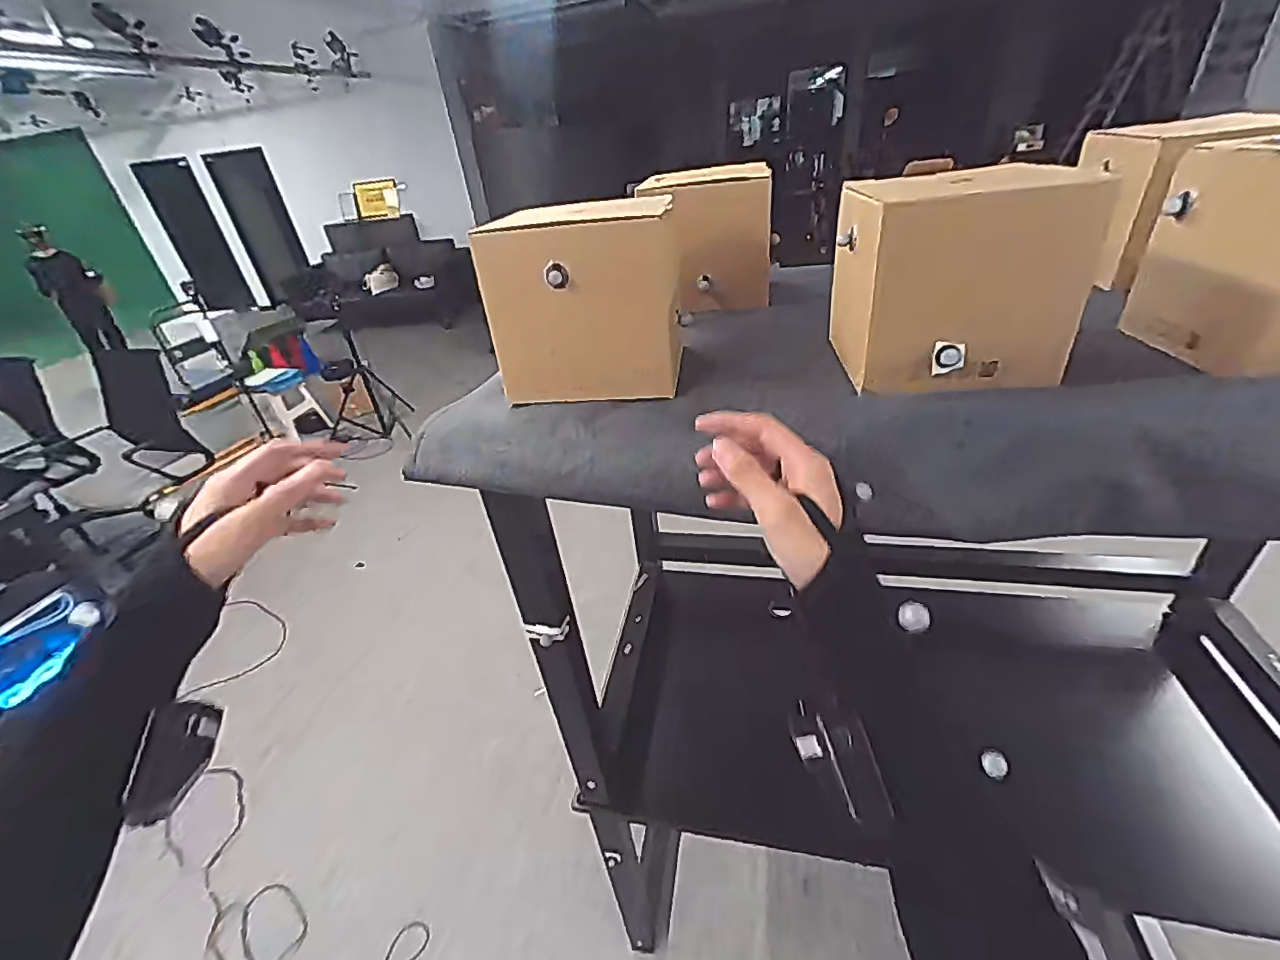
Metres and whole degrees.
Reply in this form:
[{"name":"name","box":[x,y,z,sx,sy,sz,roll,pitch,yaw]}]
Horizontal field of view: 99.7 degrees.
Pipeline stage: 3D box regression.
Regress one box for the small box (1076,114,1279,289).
[{"name":"small box","box":[0.664,-0.342,0.674,0.168,0.176,0.179,1,34,12]}]

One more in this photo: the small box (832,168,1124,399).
[{"name":"small box","box":[0.282,-0.186,0.507,0.168,0.176,0.179,-2,32,10]}]

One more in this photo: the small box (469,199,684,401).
[{"name":"small box","box":[-0.049,-0.189,0.571,0.179,0.176,0.168,0,33,8]}]

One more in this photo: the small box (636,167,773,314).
[{"name":"small box","box":[0.099,-0.349,0.793,0.179,0.176,0.168,1,34,11]}]
